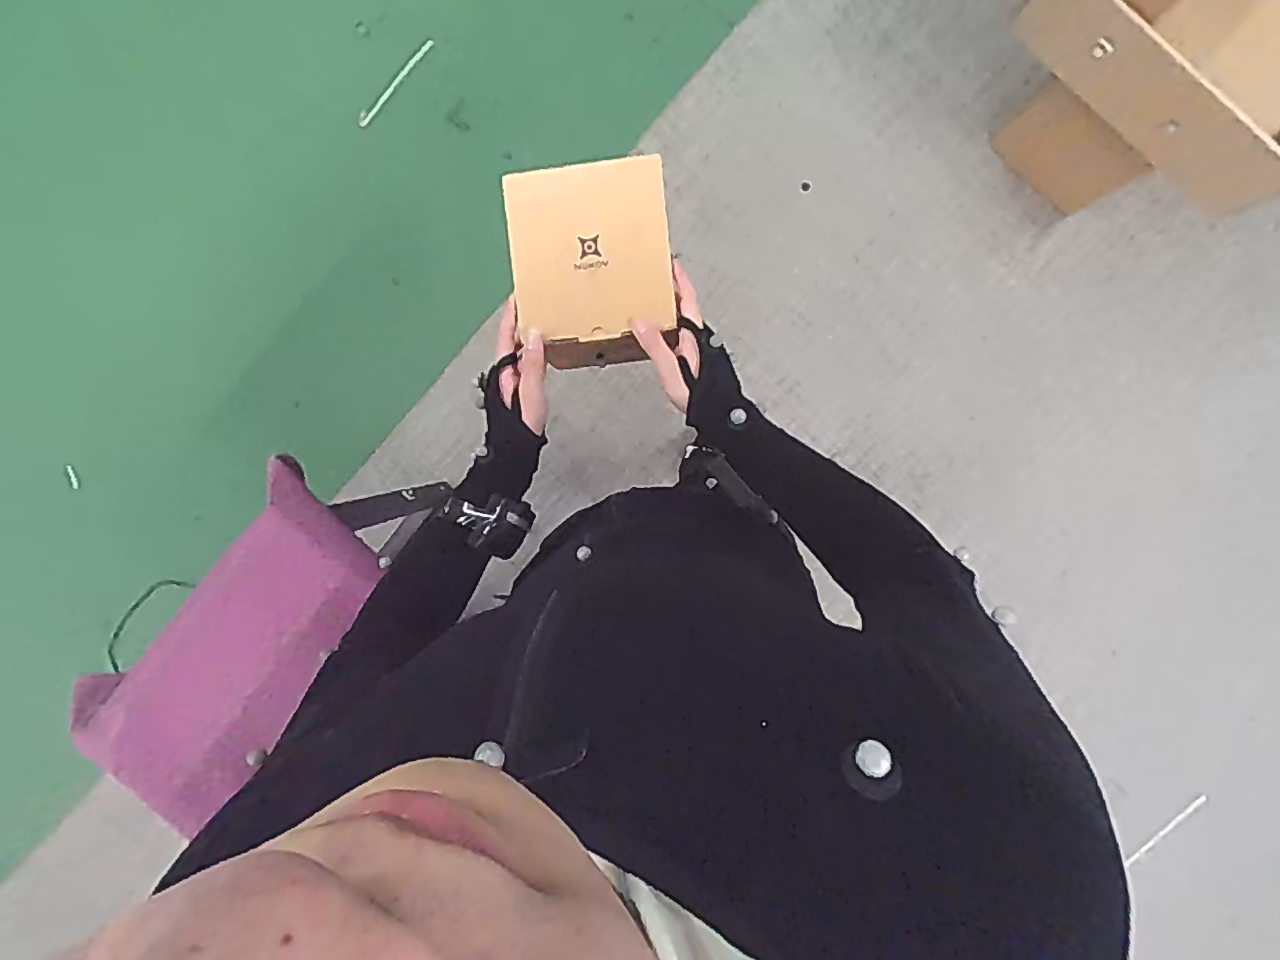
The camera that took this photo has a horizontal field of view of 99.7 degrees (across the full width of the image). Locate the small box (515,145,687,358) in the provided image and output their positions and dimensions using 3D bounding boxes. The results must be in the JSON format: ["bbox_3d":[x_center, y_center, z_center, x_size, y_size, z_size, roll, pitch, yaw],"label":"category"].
[{"bbox_3d":[-0.037,-0.247,0.626,0.168,0.176,0.179,-5,94,3],"label":"small box"}]
